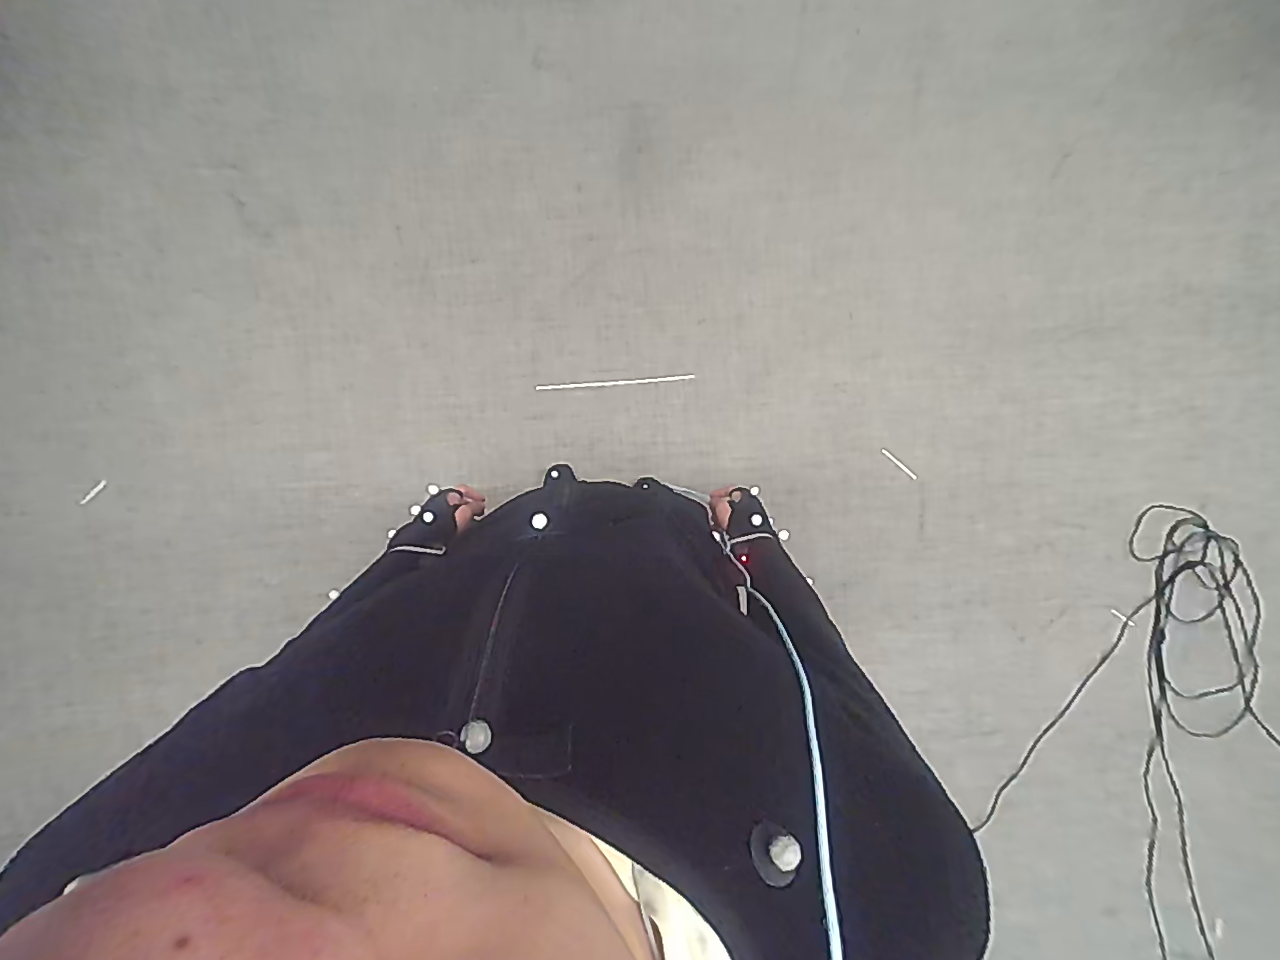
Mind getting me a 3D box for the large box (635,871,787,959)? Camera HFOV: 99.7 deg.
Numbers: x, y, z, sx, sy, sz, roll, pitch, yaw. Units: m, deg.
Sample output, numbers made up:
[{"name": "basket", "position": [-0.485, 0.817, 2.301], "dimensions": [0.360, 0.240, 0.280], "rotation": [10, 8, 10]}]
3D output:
[{"name": "large box", "position": [0.201, 1.402, 1.550], "dimensions": [0.408, 0.320, 0.320], "rotation": [-6, 91, -1]}]
